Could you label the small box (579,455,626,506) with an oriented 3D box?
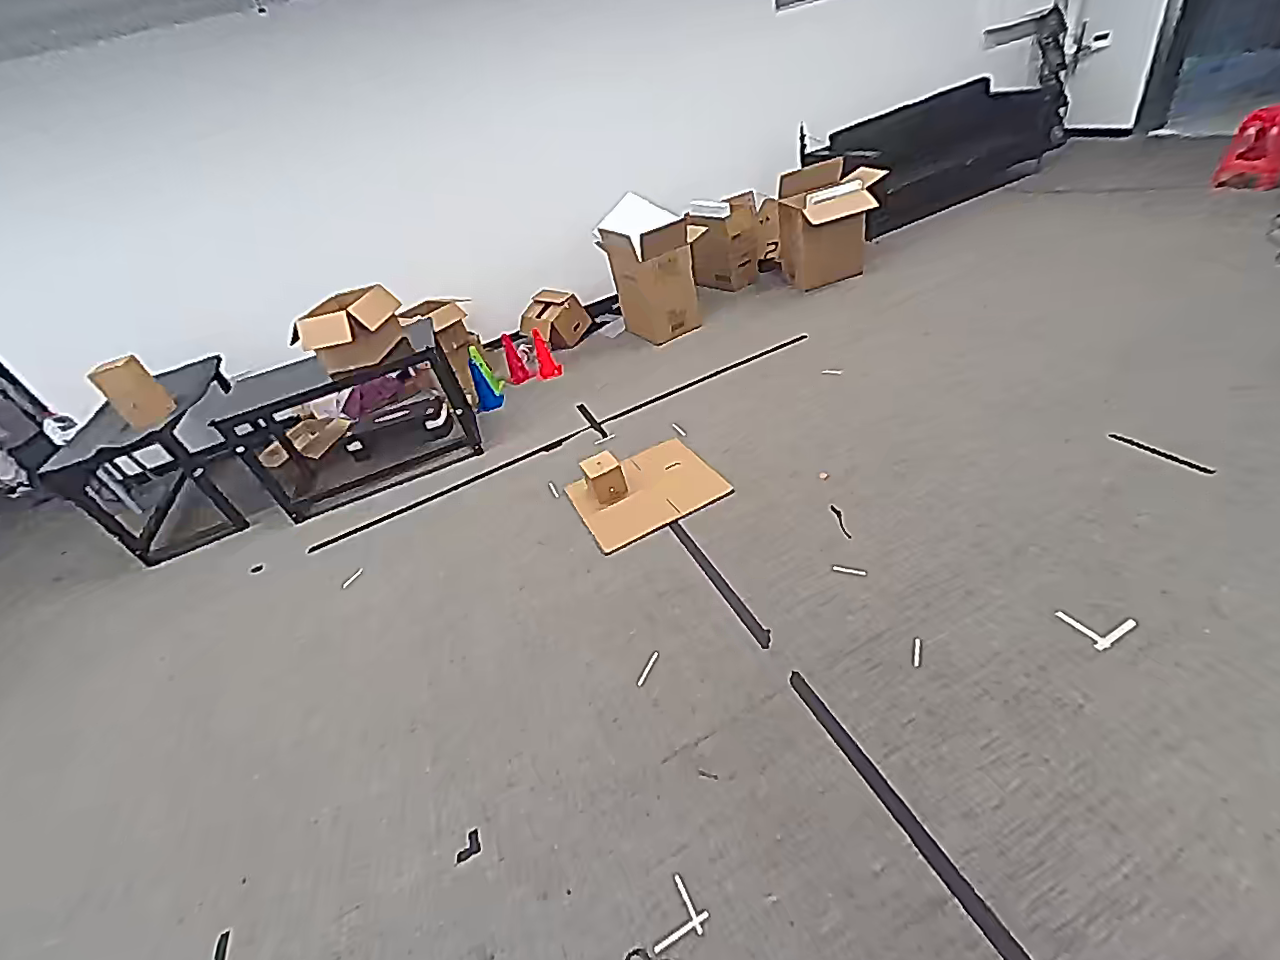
[{"bbox_3d":[-0.189,0.003,2.758,0.168,0.176,0.179,-26,38,-13],"label":"small box"}]
